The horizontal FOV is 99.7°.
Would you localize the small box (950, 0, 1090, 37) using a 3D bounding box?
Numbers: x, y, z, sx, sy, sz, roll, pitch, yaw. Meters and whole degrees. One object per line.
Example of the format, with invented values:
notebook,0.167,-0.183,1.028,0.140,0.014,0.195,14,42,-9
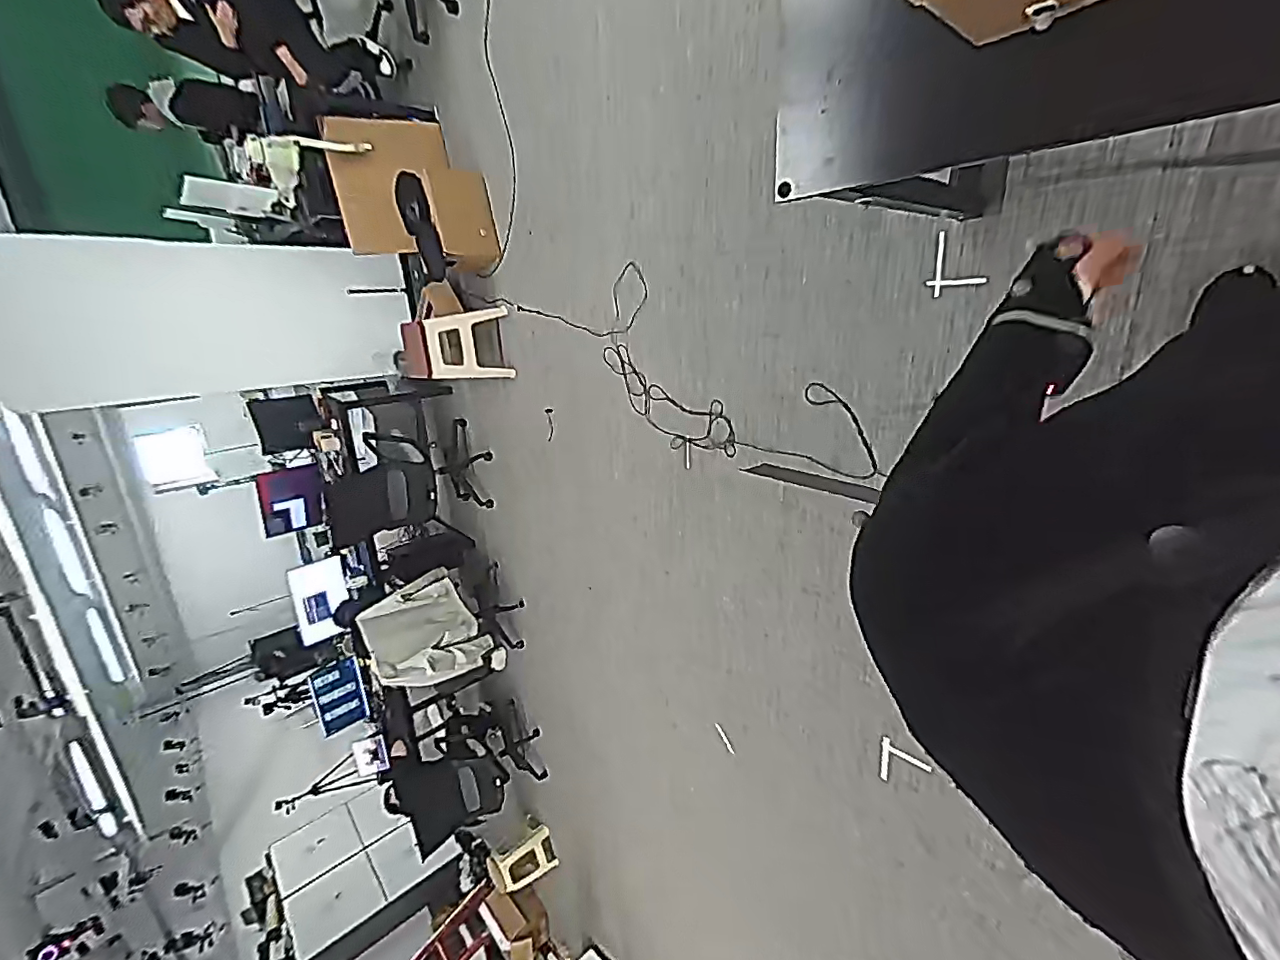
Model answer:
small box,0.378,-0.551,0.485,0.168,0.176,0.179,12,114,49
